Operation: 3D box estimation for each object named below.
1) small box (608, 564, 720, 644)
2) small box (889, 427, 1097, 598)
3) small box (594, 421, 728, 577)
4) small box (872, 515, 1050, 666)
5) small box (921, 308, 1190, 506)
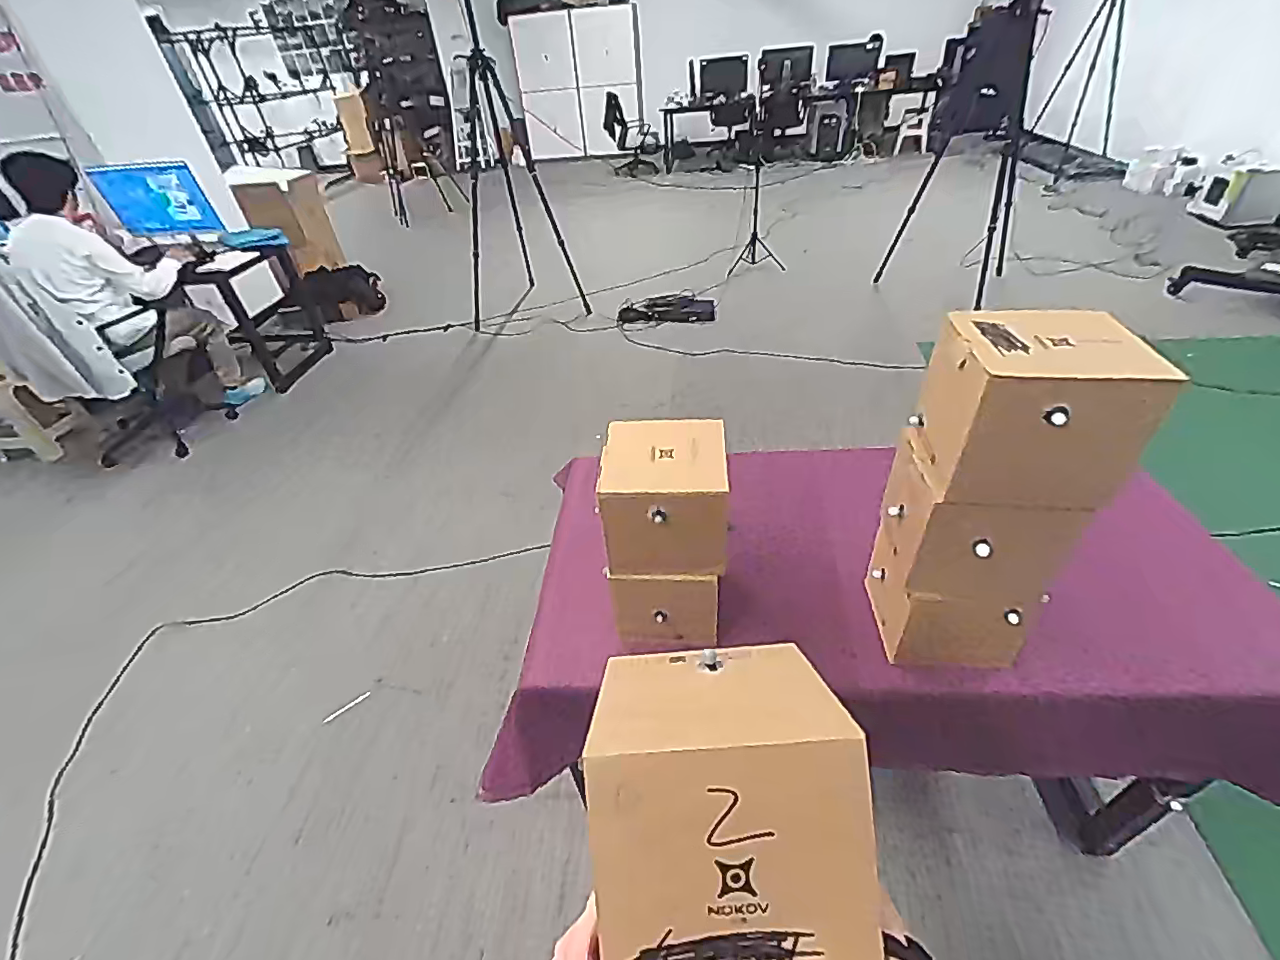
[{"bbox_3d":[0.049,0.155,0.904,0.168,0.176,0.179,0,39,8],"label":"small box"},{"bbox_3d":[0.449,0.042,0.729,0.179,0.176,0.168,1,40,10],"label":"small box"},{"bbox_3d":[0.040,0.029,0.800,0.179,0.176,0.168,-1,41,7],"label":"small box"},{"bbox_3d":[0.470,0.169,0.831,0.179,0.176,0.168,-1,39,7],"label":"small box"},{"bbox_3d":[0.443,-0.084,0.622,0.179,0.176,0.168,3,40,9],"label":"small box"}]
